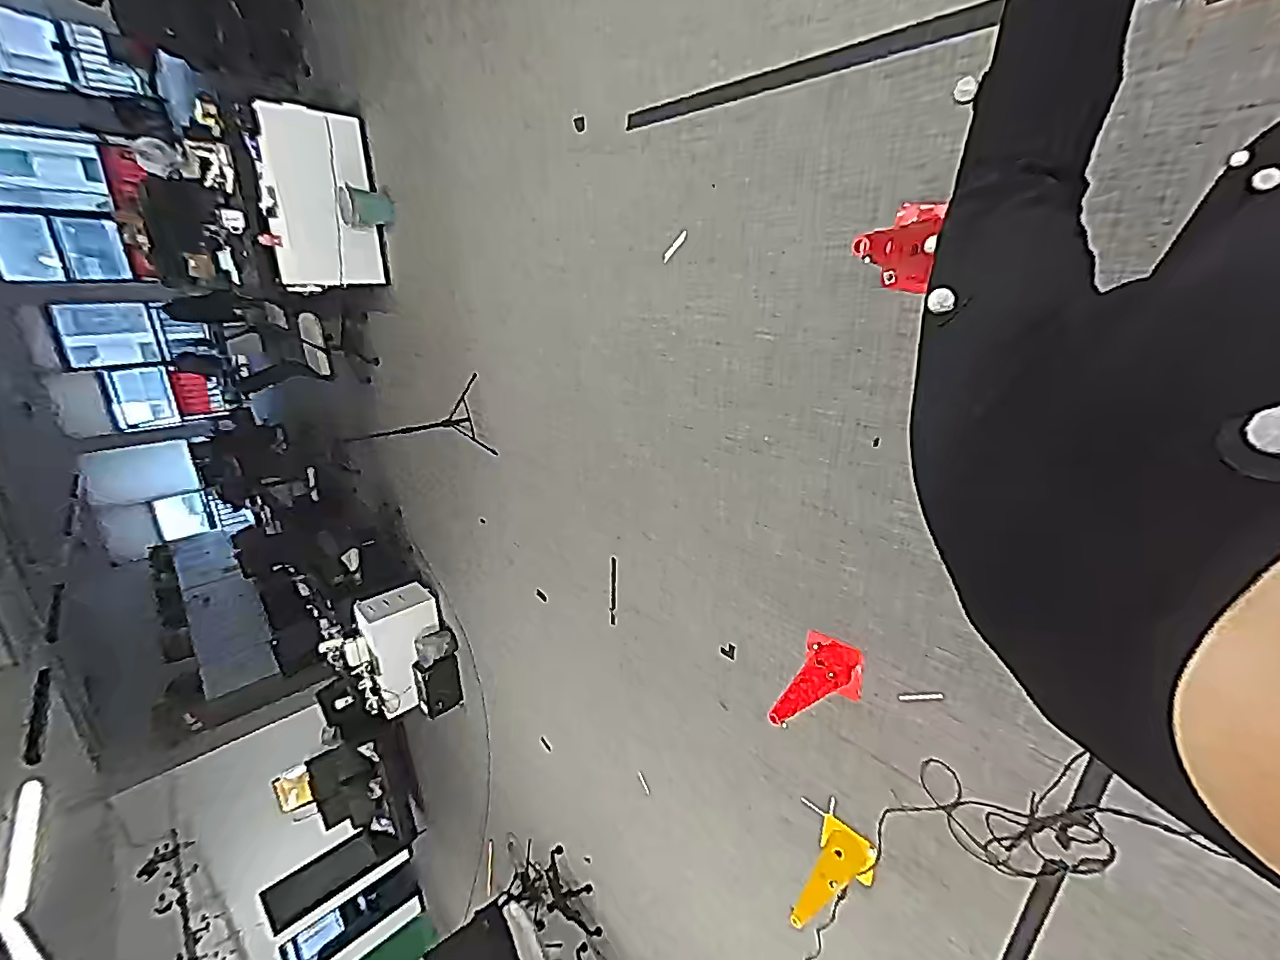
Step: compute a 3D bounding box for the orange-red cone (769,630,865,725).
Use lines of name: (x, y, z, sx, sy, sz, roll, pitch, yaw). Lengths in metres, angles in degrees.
orange-red cone: (0.533, 0.669, 1.720, 0.198, 0.360, 0.199, 19, 119, 45)

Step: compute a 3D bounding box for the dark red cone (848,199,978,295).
dark red cone: (0.563, -0.518, 1.188, 0.201, 0.394, 0.202, 27, 124, 39)
